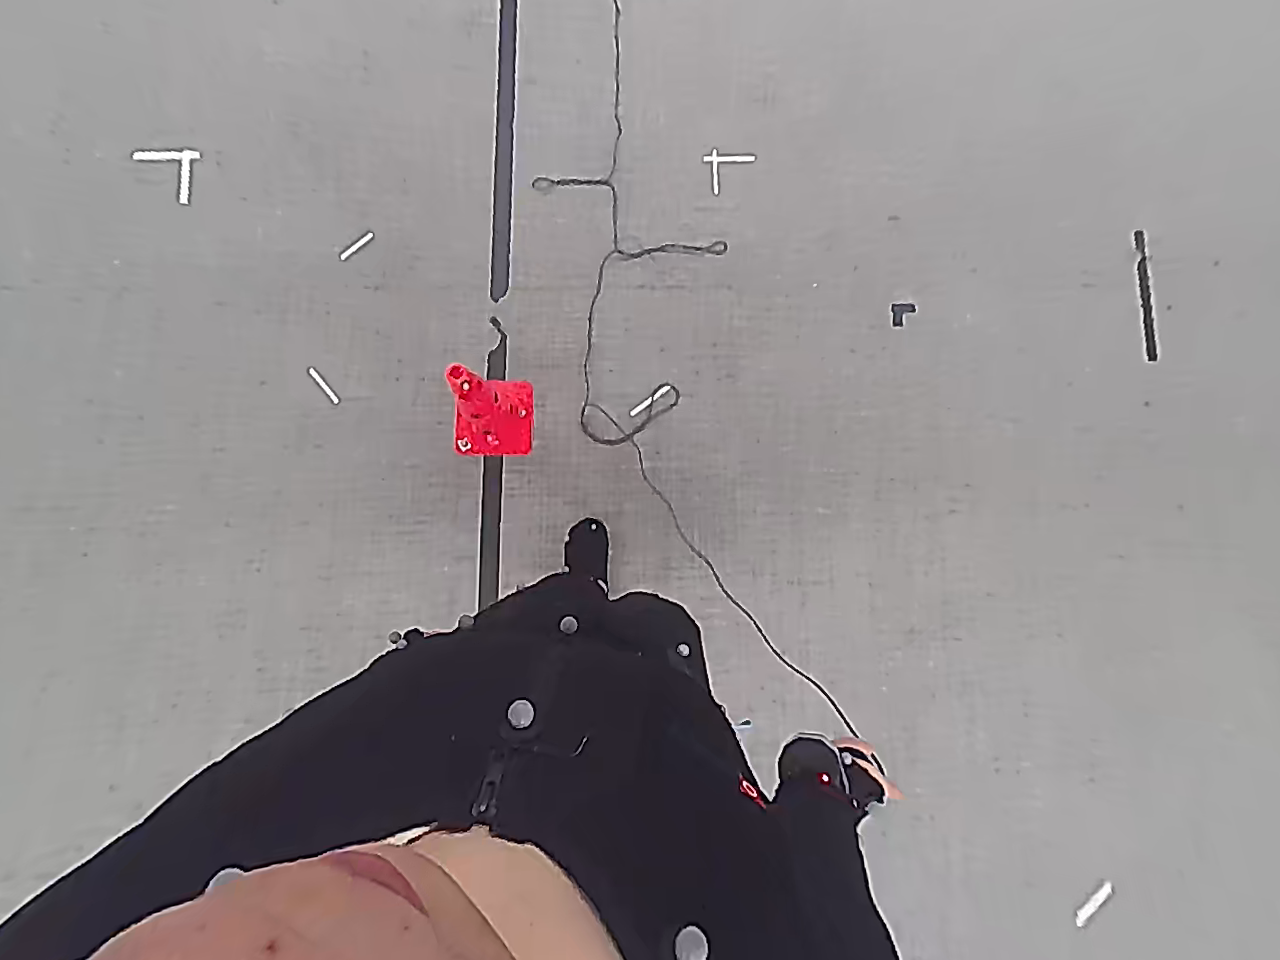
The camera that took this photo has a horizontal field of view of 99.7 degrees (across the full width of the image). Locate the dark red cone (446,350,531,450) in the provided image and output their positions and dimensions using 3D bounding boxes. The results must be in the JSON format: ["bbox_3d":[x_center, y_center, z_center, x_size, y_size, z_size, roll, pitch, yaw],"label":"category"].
[{"bbox_3d":[-0.368,-0.199,1.222,0.201,0.394,0.202,-1,82,-4],"label":"dark red cone"}]
